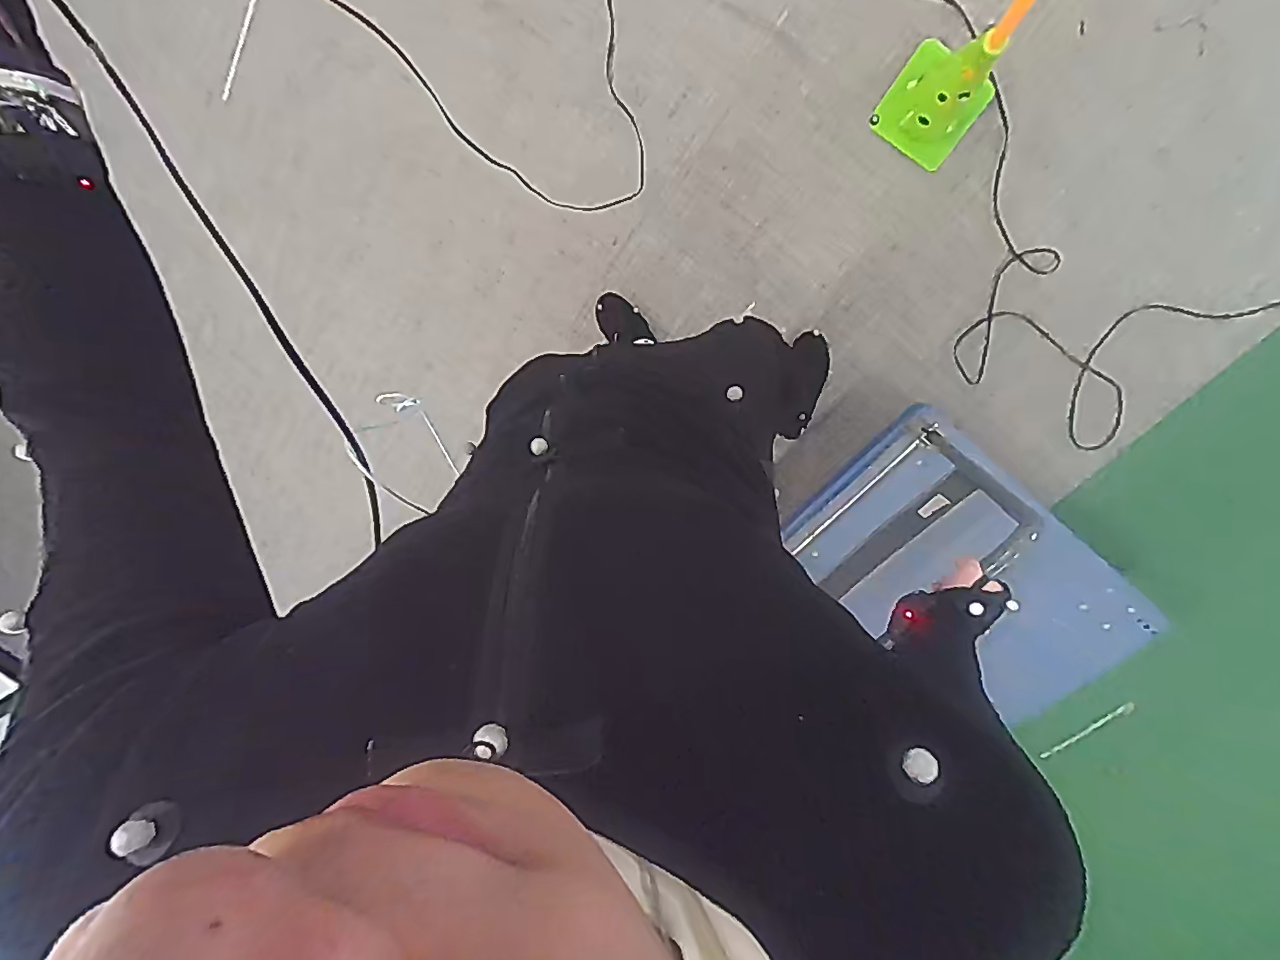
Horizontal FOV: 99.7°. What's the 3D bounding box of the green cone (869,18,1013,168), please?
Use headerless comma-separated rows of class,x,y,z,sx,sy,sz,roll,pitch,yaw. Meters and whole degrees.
green cone,0.625,-0.791,1.060,0.200,0.368,0.202,34,111,-2
